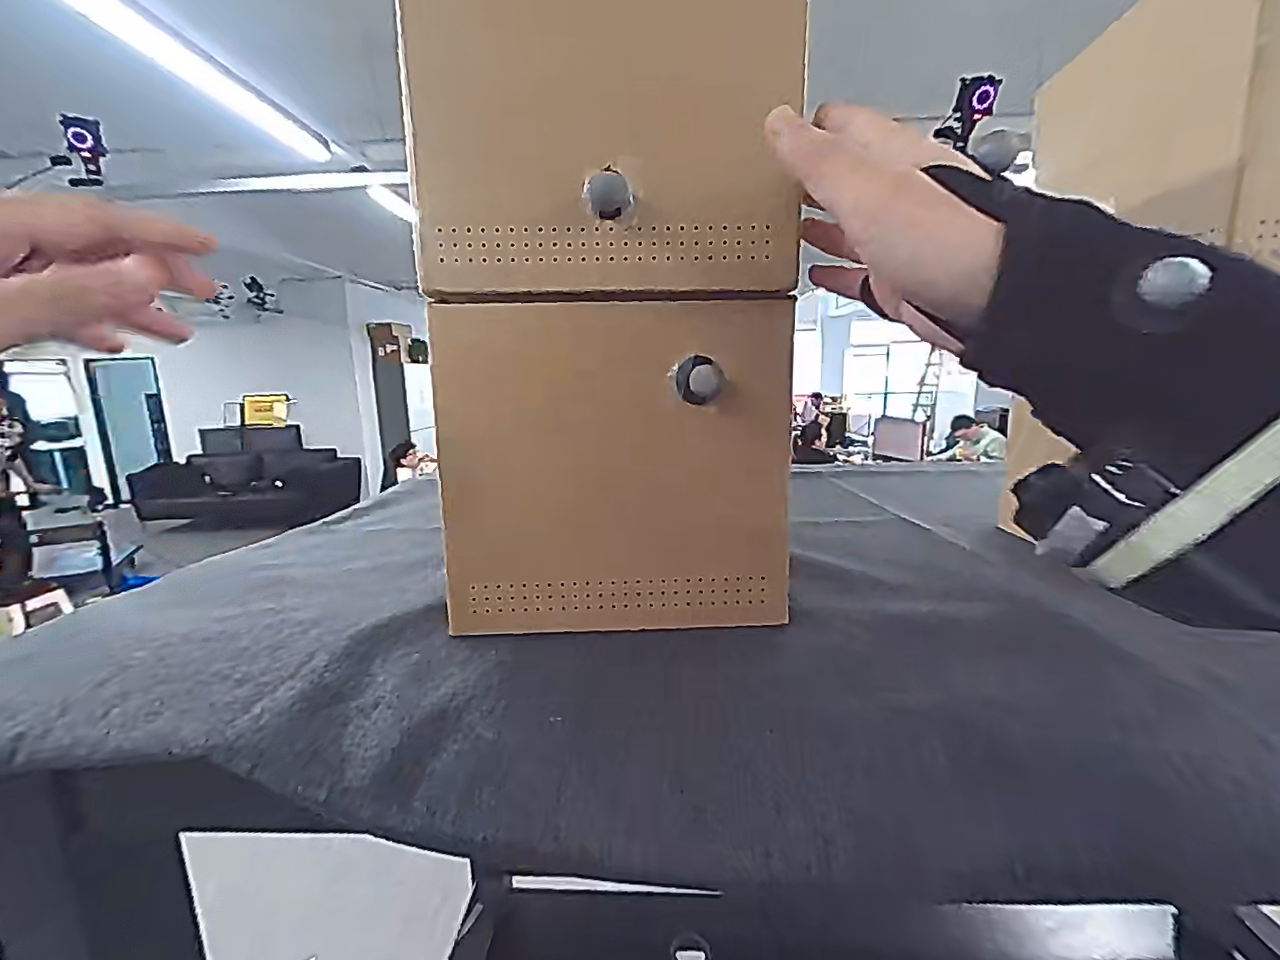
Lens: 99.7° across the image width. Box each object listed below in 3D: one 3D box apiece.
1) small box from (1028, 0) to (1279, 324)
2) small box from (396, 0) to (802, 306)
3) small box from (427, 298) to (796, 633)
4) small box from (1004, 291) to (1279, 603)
[{"bbox_3d":[0.363,-0.185,0.313,0.179,0.176,0.168,-2,8,6],"label":"small box"},{"bbox_3d":[-0.017,-0.175,0.311,0.179,0.176,0.168,0,9,0],"label":"small box"},{"bbox_3d":[-0.013,-0.014,0.343,0.179,0.176,0.168,-2,9,-2],"label":"small box"},{"bbox_3d":[0.370,-0.024,0.349,0.168,0.176,0.179,-1,9,6],"label":"small box"}]
